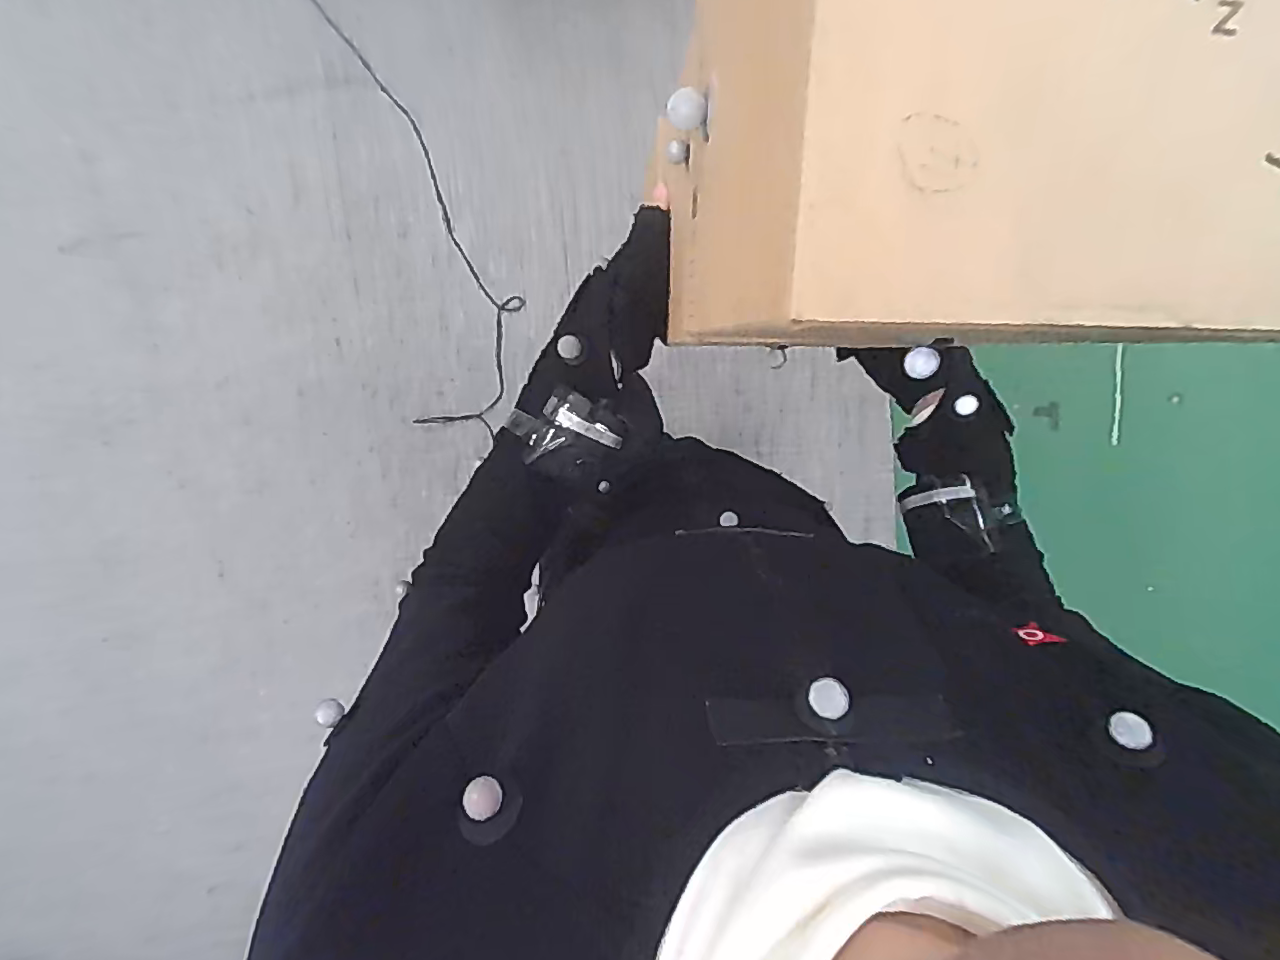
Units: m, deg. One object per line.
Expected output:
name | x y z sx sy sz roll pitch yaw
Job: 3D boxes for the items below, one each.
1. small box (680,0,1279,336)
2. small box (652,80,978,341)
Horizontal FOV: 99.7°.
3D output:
small box | 0.116 -0.143 0.205 0.179 0.176 0.168 -3 105 -5
small box | 0.107 -0.182 0.364 0.179 0.176 0.168 0 103 -5
